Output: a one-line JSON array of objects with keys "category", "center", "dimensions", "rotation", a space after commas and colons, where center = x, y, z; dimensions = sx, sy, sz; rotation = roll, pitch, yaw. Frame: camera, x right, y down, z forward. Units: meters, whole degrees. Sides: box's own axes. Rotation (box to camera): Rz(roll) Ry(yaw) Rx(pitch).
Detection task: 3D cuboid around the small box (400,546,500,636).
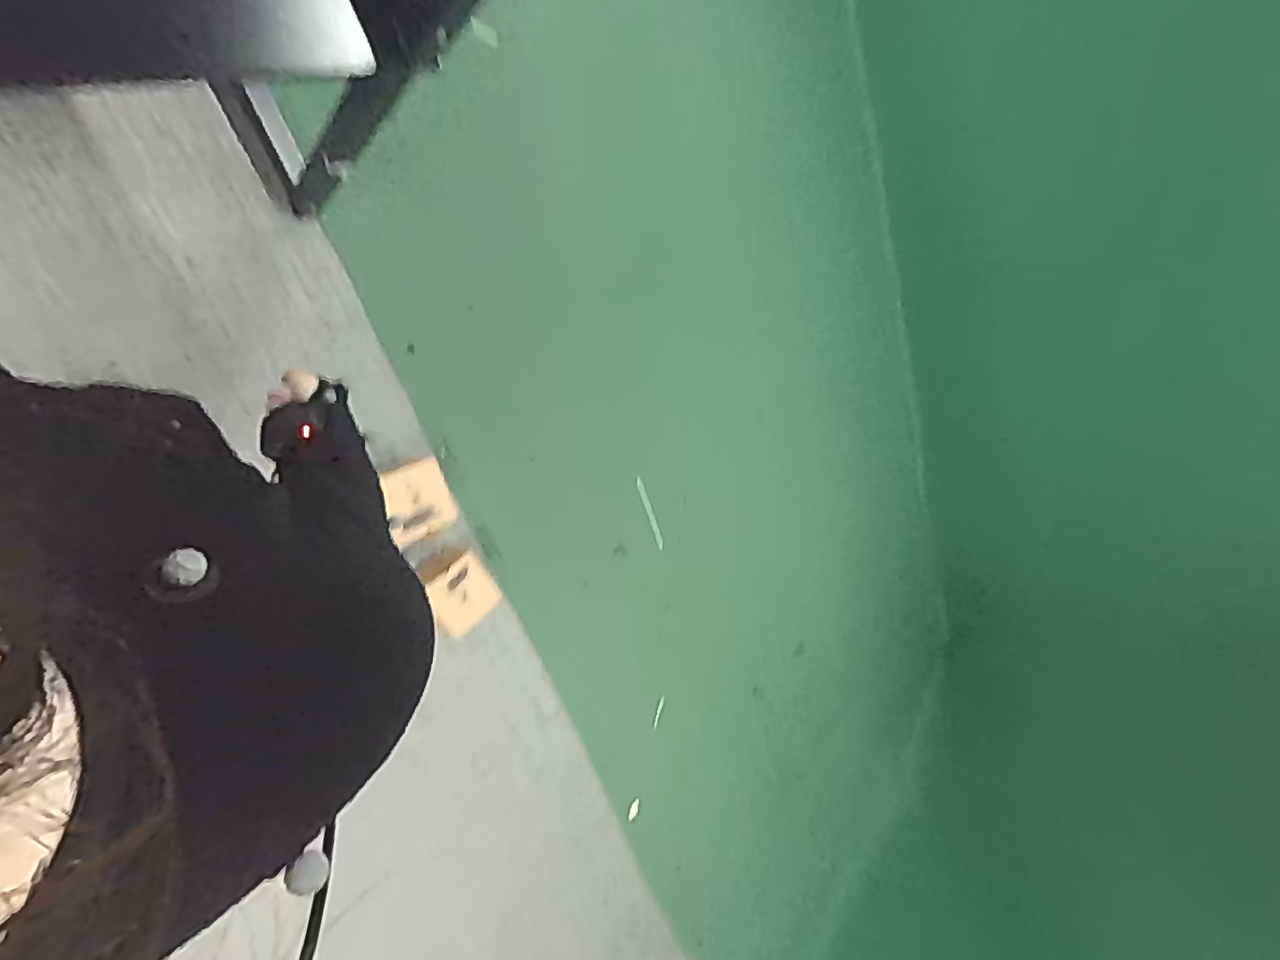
[{"category": "small box", "center": [-0.531, 0.298, 1.501], "dimensions": [0.168, 0.176, 0.179], "rotation": [-42, 120, -31]}]
